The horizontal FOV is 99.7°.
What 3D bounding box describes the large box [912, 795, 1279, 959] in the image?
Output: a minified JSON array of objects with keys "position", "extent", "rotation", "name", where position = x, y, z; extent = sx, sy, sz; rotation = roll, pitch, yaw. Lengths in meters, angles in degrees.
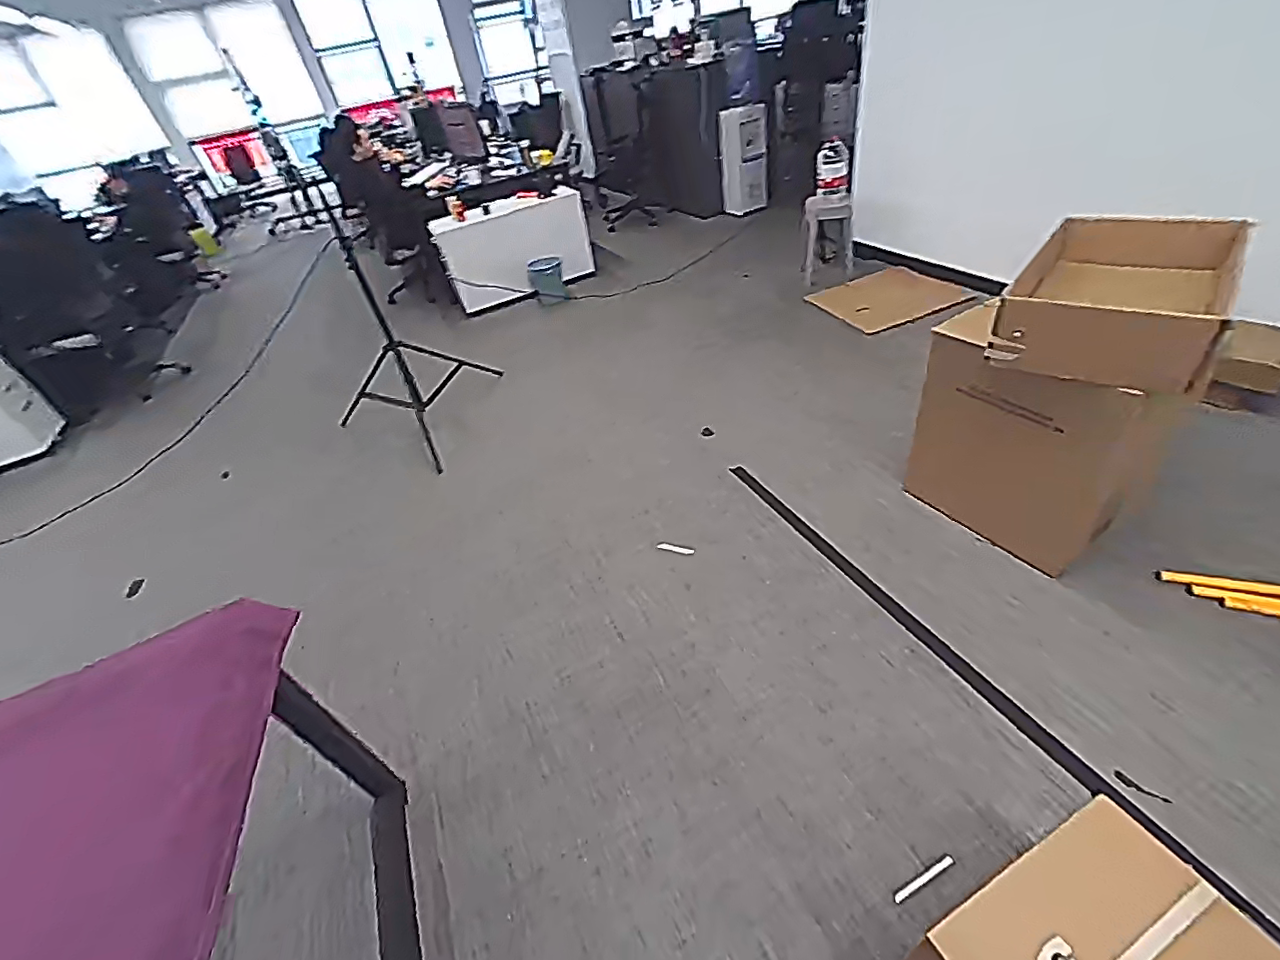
[{"position":[0.702,0.800,0.850],"extent":[0.408,0.320,0.320],"rotation":[-25,41,-14],"name":"large box"}]
